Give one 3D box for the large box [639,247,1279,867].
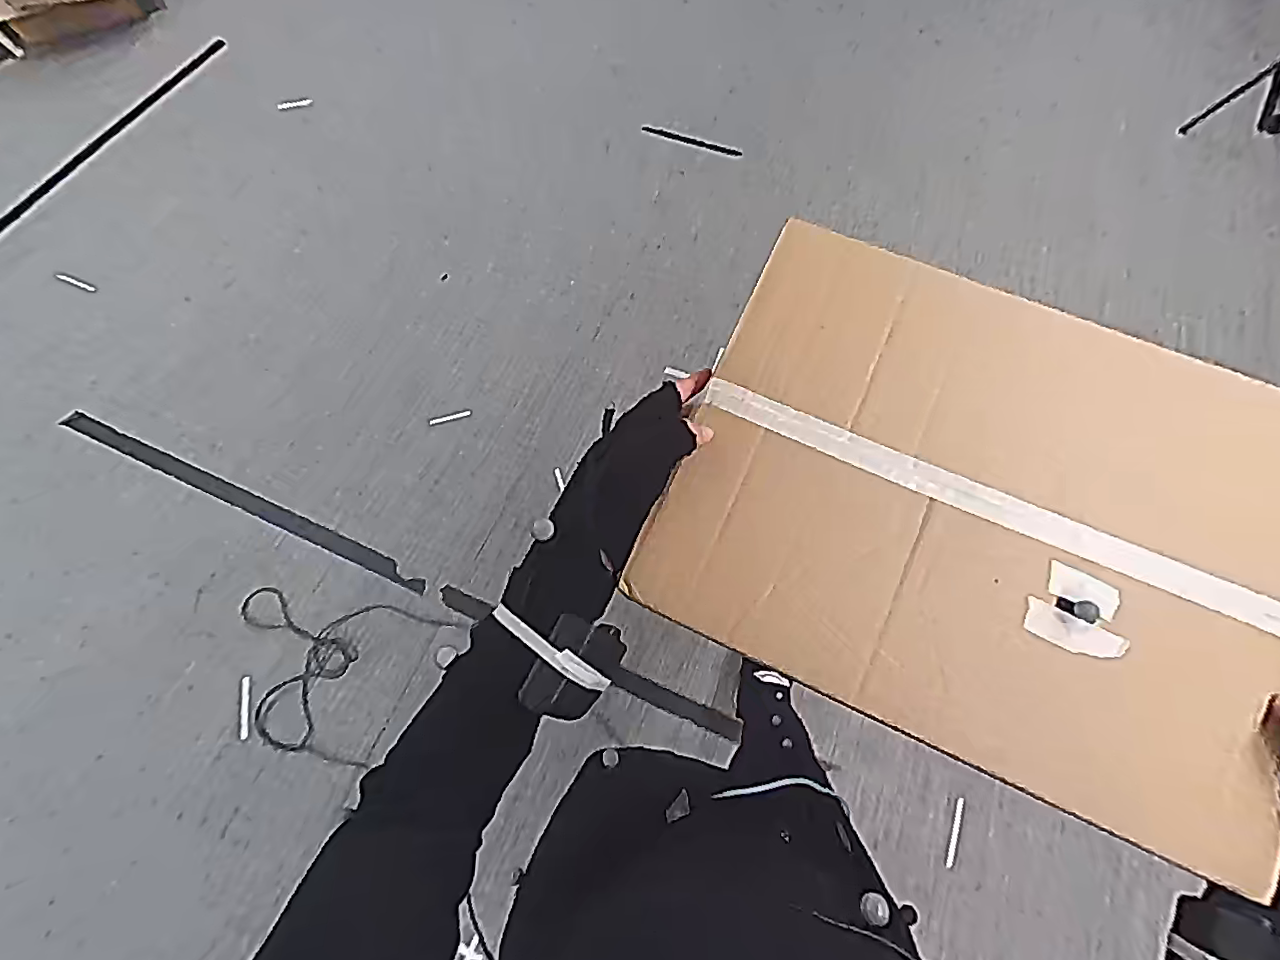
[{"bbox_3d":[0.245,0.055,0.522,0.408,0.320,0.320,24,80,9],"label":"large box"}]
